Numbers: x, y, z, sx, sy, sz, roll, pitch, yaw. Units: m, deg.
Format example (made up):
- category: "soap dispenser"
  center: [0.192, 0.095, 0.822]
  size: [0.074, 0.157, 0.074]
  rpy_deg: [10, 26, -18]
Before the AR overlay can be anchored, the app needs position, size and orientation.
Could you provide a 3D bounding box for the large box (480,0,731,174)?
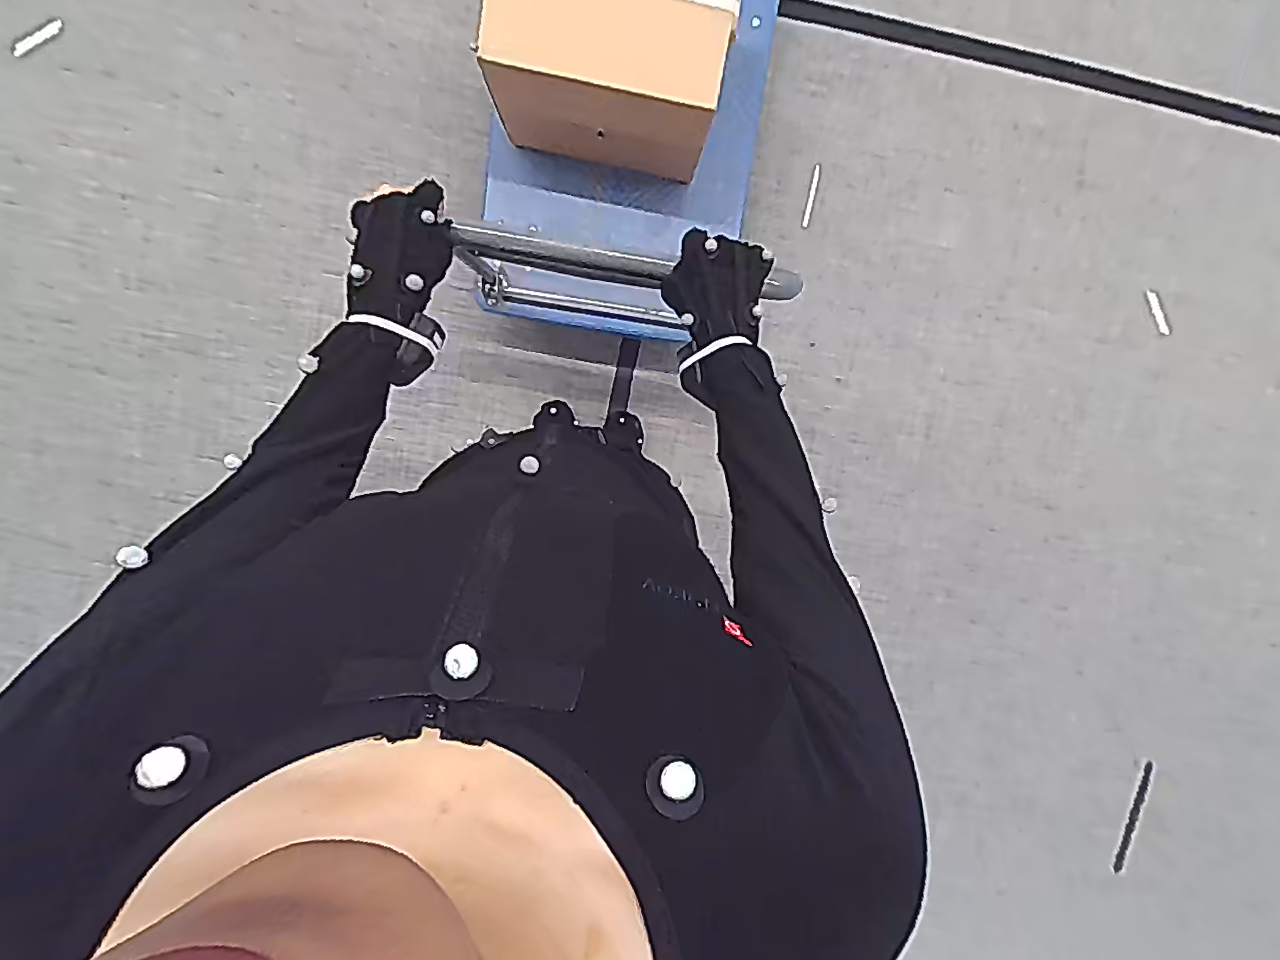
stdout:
- category: "large box"
  center: [-0.050, -0.834, 1.031]
  size: [0.408, 0.320, 0.320]
  rpy_deg: [10, 98, -3]
